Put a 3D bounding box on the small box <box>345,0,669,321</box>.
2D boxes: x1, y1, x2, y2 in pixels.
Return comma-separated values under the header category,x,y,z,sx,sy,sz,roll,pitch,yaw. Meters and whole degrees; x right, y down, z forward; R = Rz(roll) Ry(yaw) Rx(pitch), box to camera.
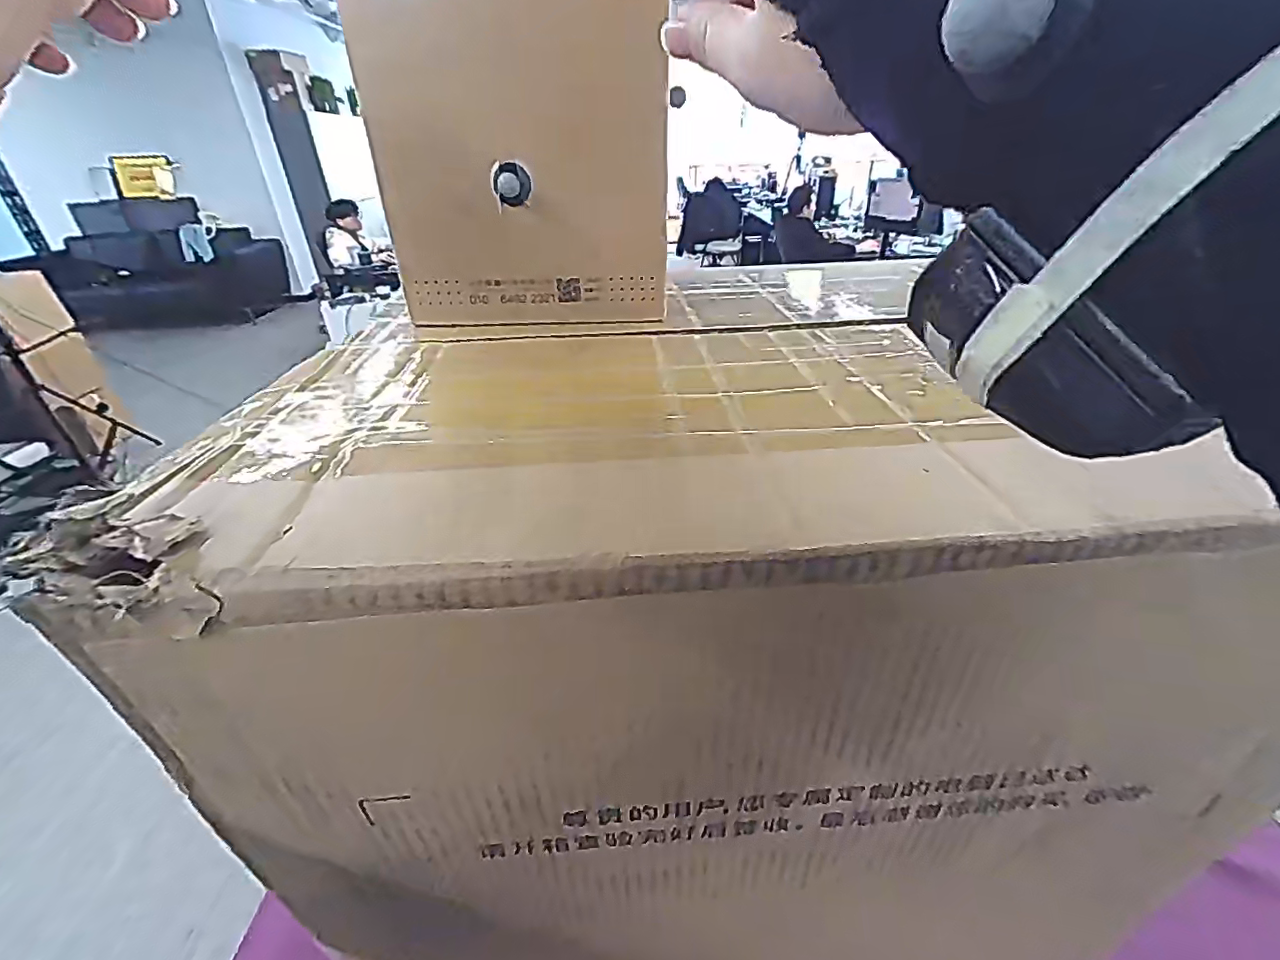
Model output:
category,x,y,z,sx,sy,sz,roll,pitch,yaw
small box,-0.065,-0.214,0.379,0.168,0.176,0.179,-1,31,0
